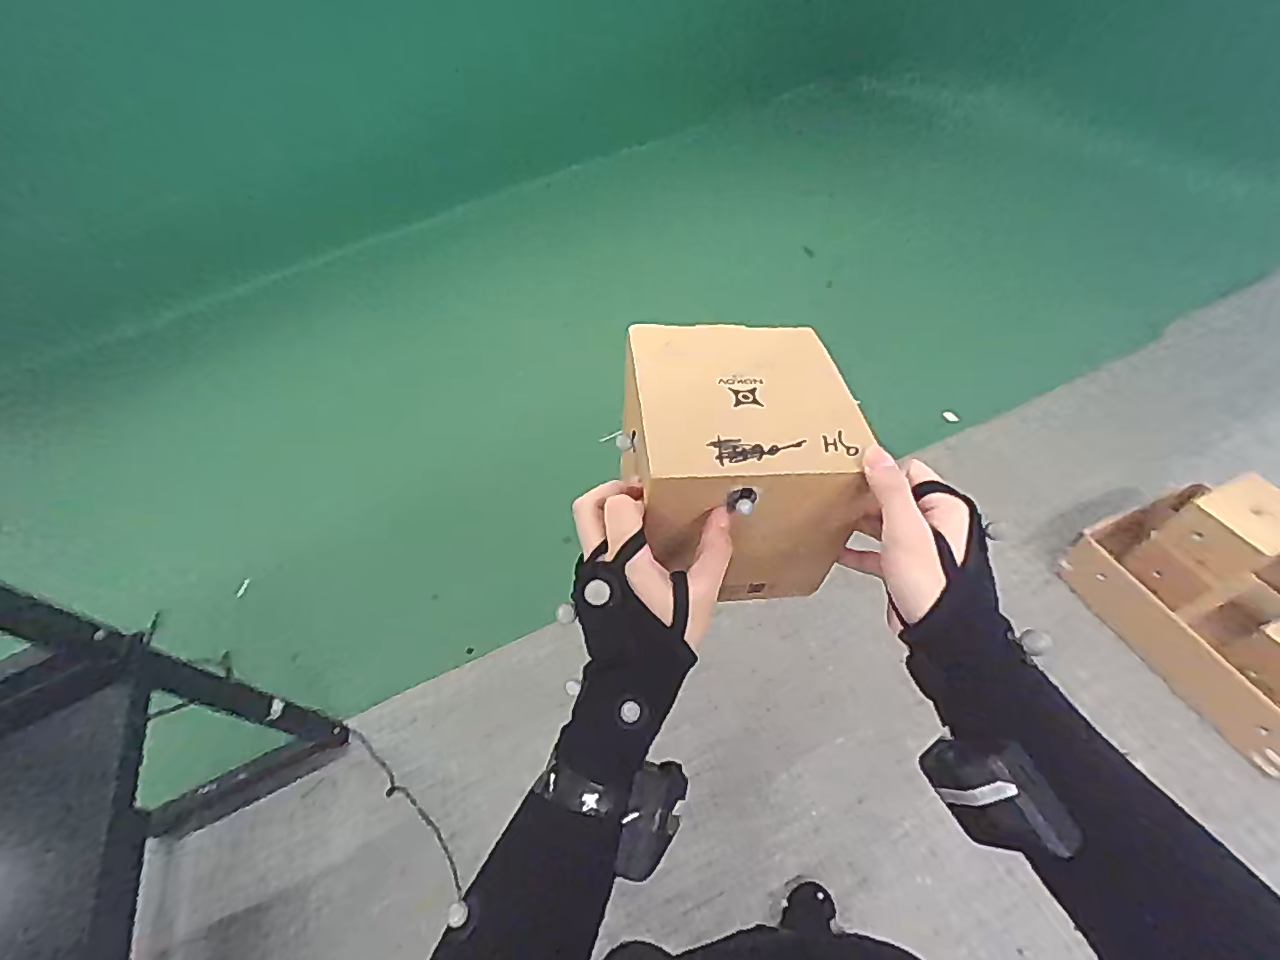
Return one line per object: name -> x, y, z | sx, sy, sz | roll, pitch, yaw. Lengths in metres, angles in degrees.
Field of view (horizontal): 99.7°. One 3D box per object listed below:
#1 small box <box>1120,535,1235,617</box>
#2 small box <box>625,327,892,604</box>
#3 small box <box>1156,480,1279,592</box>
small box -> 1.412, 0.231, 1.407 | 0.179, 0.176, 0.168 | -22, 53, -7
small box -> 0.077, -0.012, 0.468 | 0.168, 0.176, 0.179 | -1, 47, -6
small box -> 1.388, 0.137, 1.277 | 0.179, 0.176, 0.168 | -23, 52, -7
